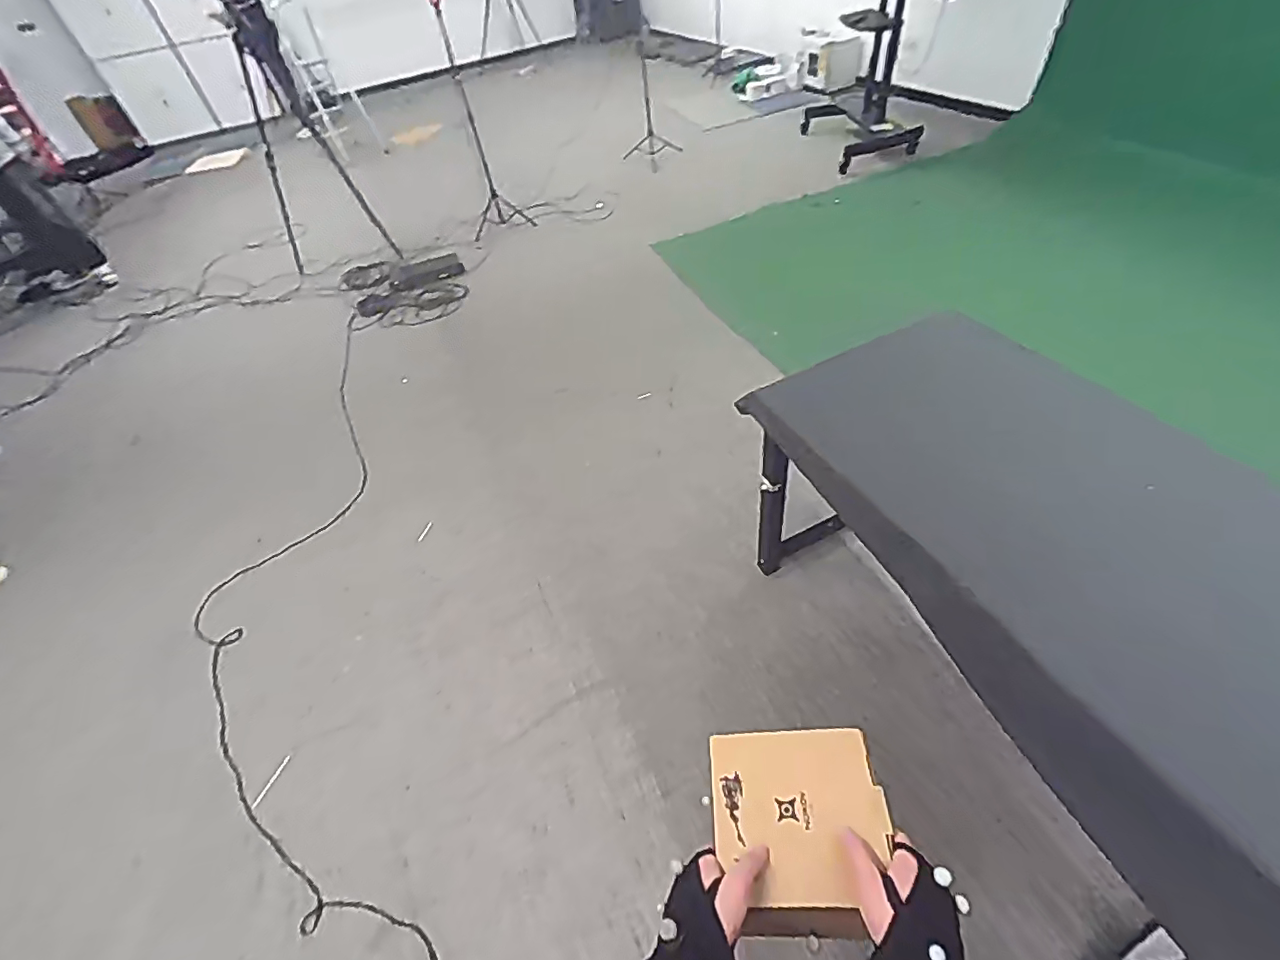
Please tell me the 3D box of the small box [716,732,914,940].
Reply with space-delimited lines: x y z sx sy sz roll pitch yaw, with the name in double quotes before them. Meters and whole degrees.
"small box" 0.183 0.405 0.617 0.179 0.176 0.168 -6 42 9
